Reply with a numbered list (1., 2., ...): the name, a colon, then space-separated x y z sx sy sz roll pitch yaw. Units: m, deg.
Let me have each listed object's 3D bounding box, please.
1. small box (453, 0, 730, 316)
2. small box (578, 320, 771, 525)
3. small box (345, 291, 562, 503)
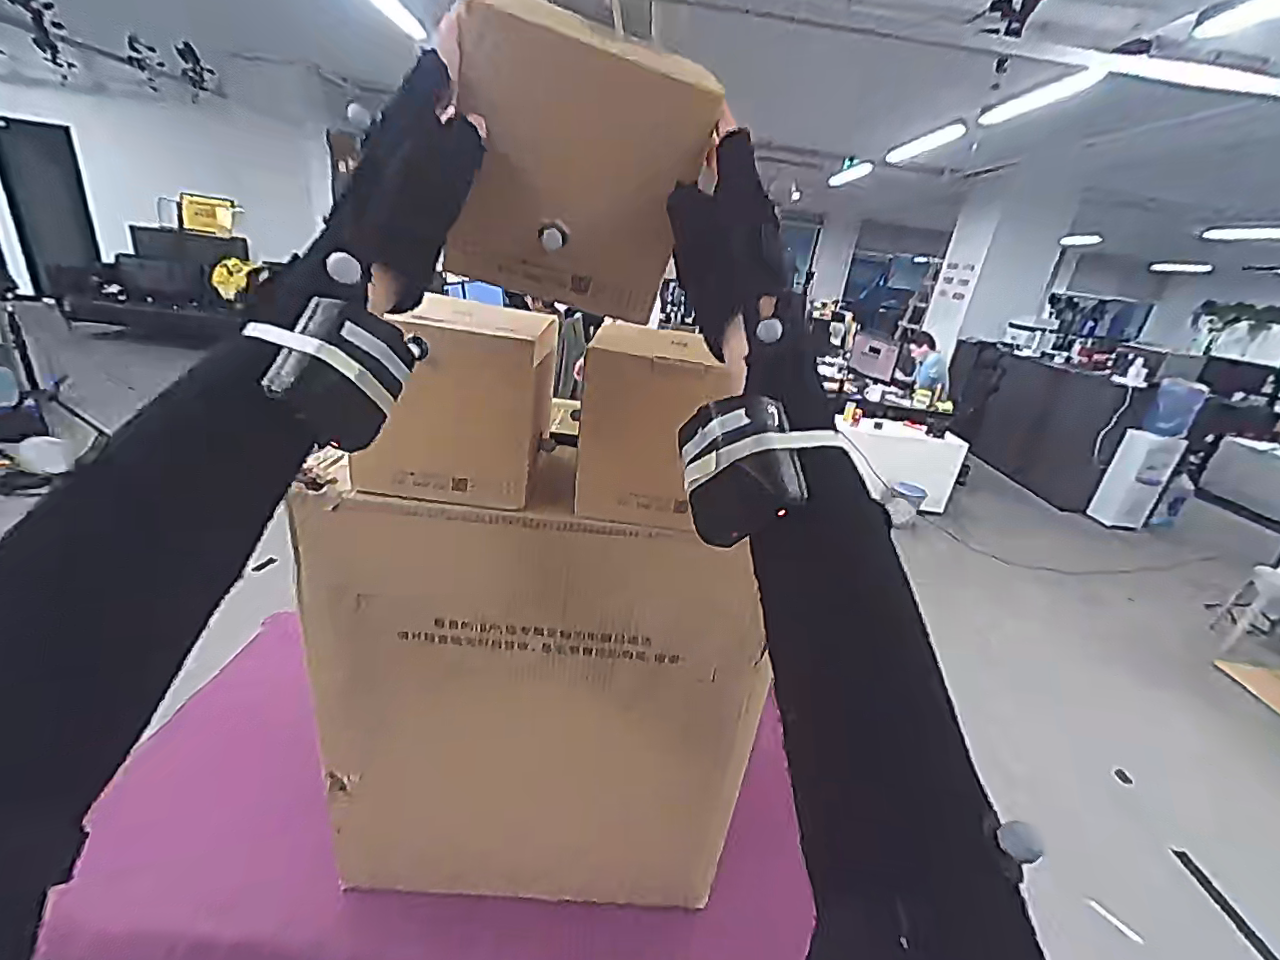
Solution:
1. small box: -0.047 -0.261 0.439 0.168 0.176 0.179 12 39 -13
2. small box: 0.031 -0.067 0.573 0.168 0.176 0.179 8 22 0
3. small box: -0.179 -0.093 0.559 0.168 0.176 0.179 7 22 -4
